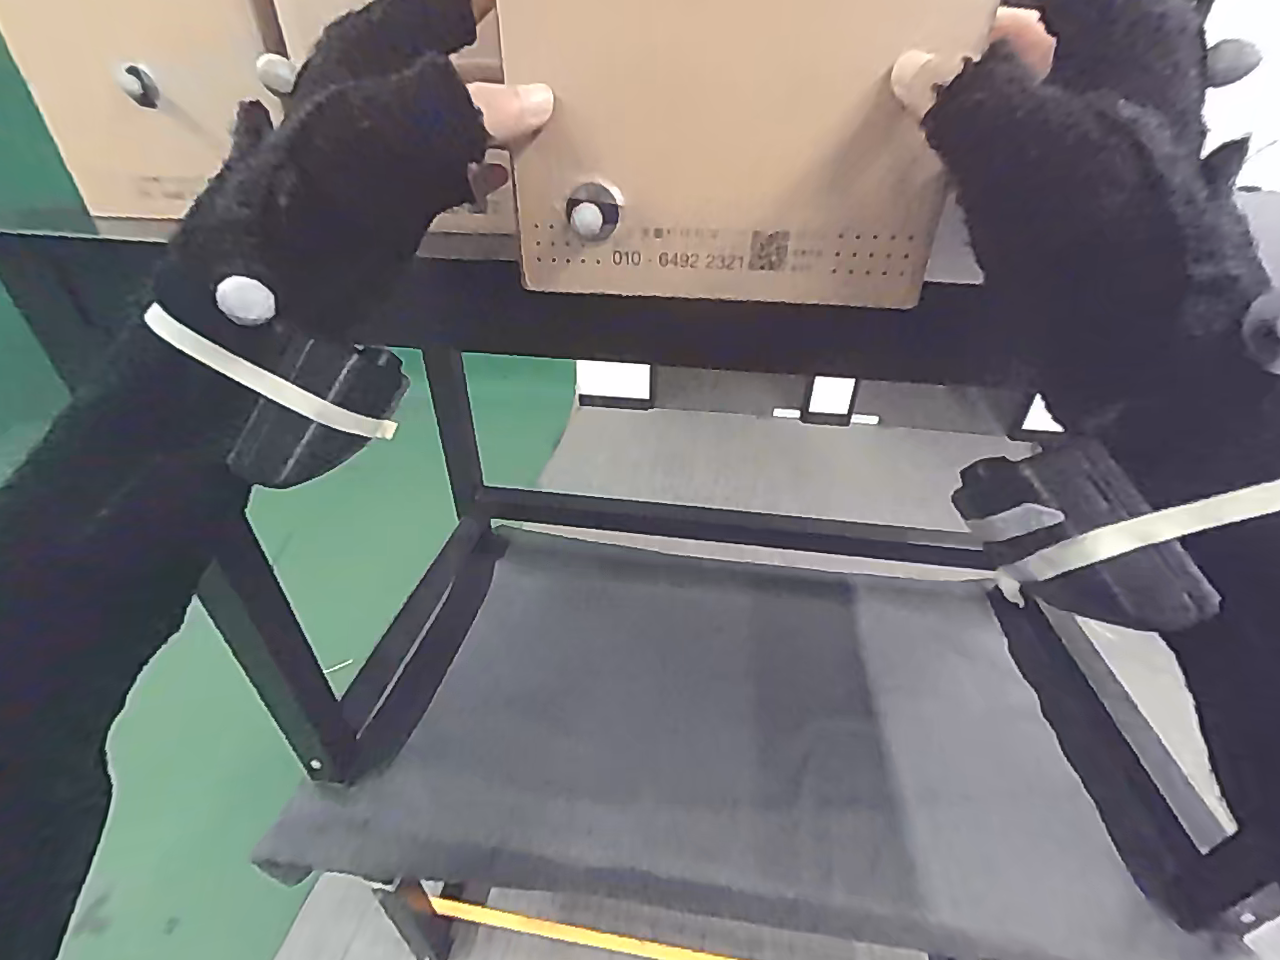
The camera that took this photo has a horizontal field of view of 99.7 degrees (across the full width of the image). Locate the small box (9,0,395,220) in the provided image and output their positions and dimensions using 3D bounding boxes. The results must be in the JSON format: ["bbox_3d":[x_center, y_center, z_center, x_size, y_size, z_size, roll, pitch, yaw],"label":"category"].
[{"bbox_3d":[-0.322,-0.313,0.437,0.168,0.176,0.179,3,33,0],"label":"small box"}]

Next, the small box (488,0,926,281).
[{"bbox_3d":[0.034,-0.202,0.271,0.168,0.176,0.179,5,31,7],"label":"small box"}]
